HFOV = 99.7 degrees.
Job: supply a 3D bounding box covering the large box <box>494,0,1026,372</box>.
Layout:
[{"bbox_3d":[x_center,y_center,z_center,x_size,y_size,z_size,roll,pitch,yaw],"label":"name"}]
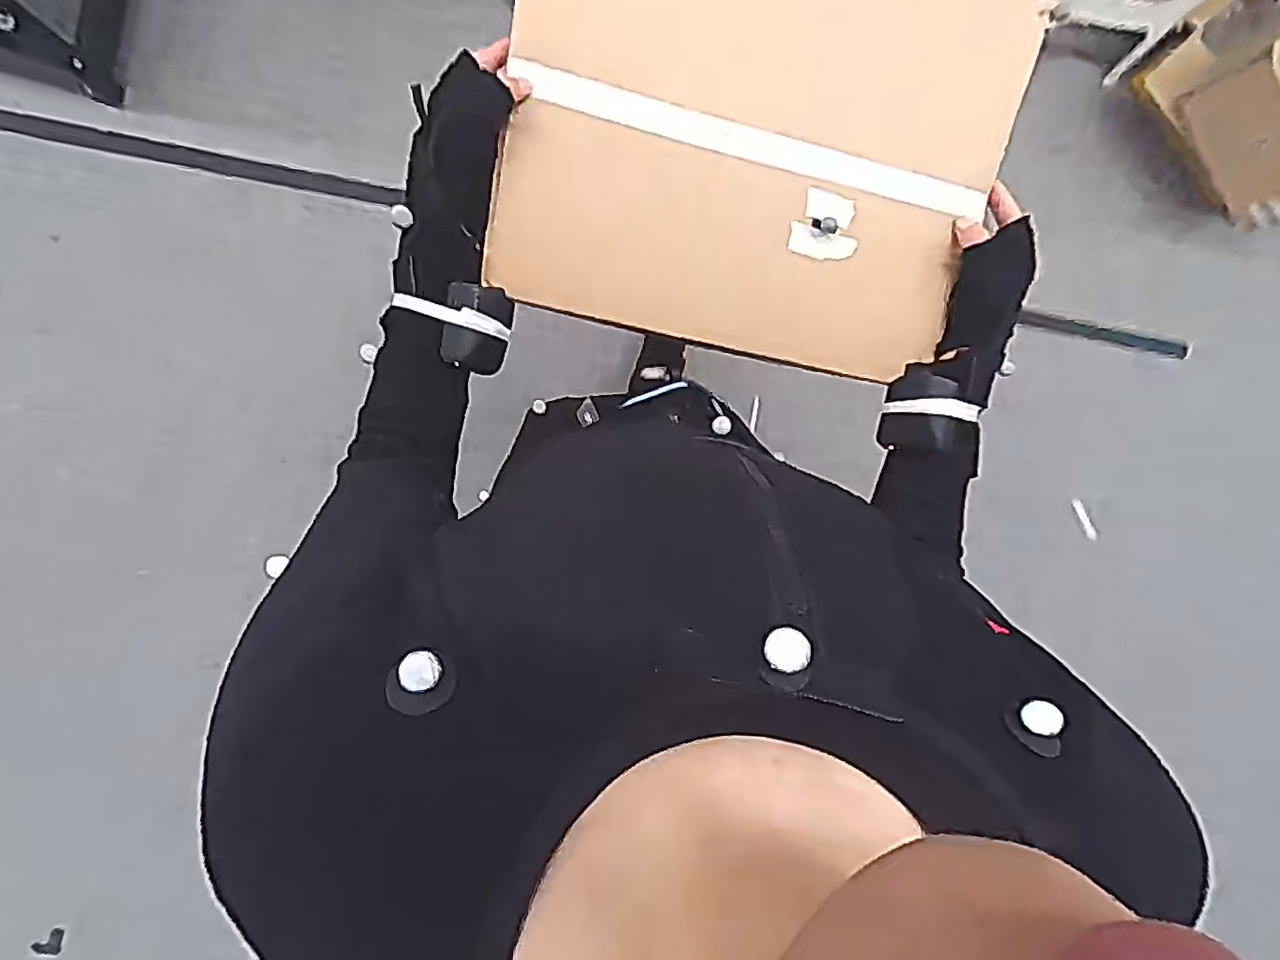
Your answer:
[{"bbox_3d":[0.077,-0.316,0.588,0.408,0.320,0.320,9,106,-10],"label":"large box"}]
